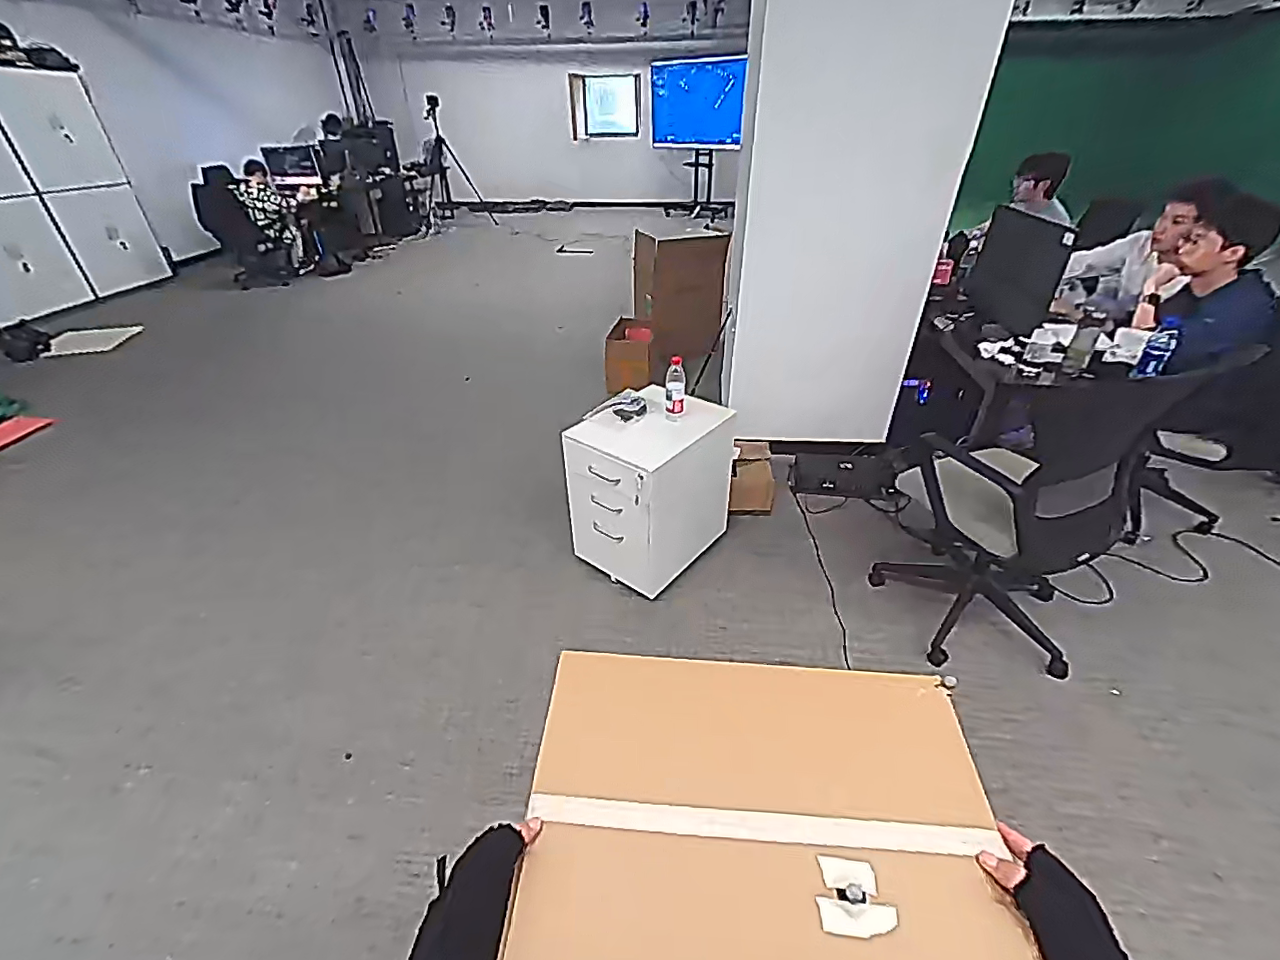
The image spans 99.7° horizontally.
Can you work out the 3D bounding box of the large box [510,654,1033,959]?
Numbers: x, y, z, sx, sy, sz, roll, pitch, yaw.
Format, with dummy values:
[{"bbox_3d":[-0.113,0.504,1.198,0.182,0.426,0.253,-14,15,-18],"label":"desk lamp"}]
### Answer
[{"bbox_3d":[0.105,0.416,0.575,0.408,0.320,0.320,3,41,4],"label":"large box"}]
